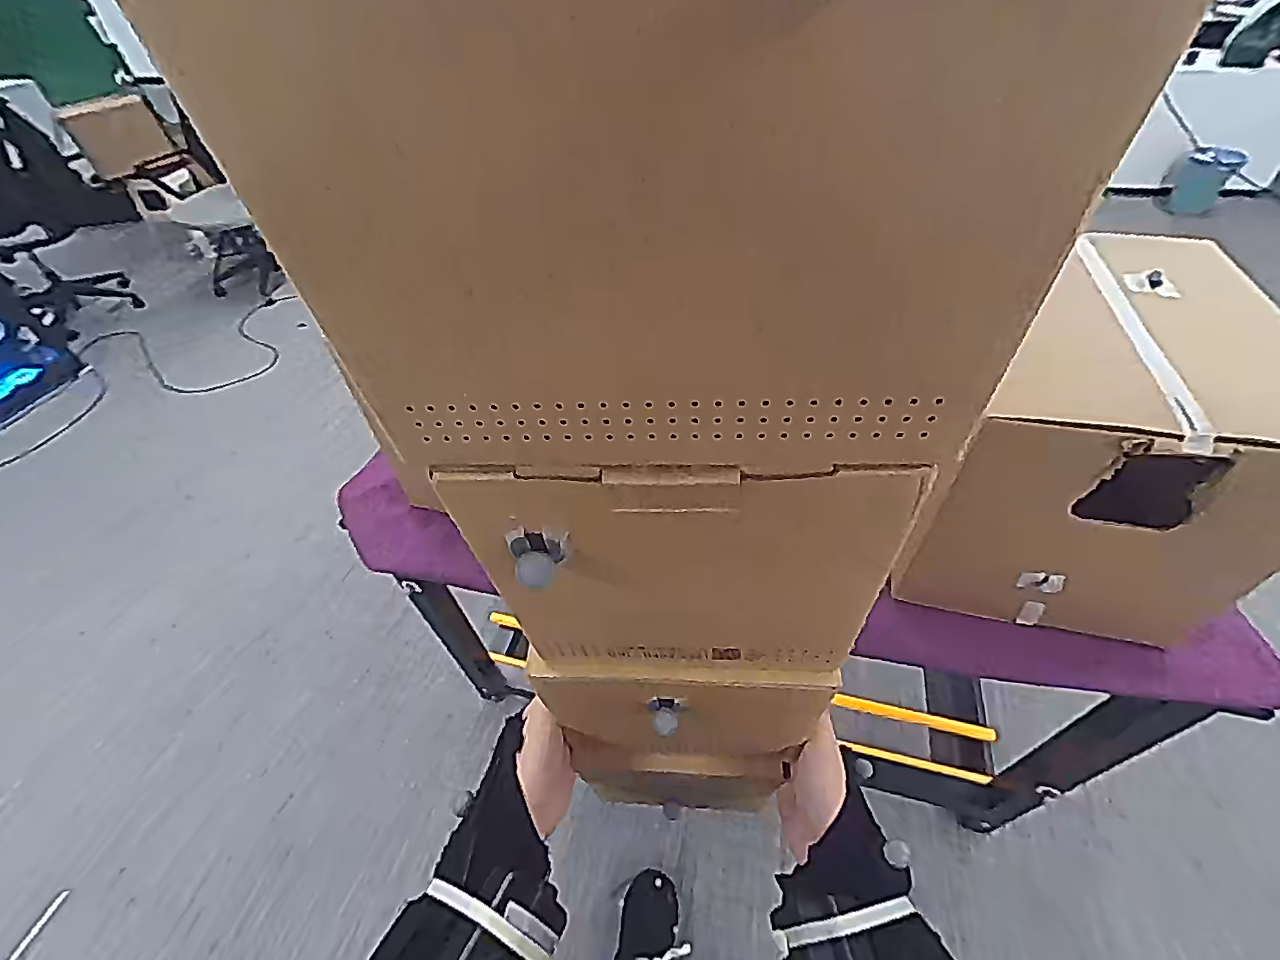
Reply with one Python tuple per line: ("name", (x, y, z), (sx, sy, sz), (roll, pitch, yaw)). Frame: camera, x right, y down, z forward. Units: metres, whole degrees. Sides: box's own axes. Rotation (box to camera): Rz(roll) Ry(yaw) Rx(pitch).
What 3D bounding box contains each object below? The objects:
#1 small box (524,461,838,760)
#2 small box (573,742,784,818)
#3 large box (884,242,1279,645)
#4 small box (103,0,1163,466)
("small box", (0.032, 0.101, 0.406), (0.179, 0.176, 0.168), (-1, 51, 7))
("small box", (0.040, 0.210, 0.527), (0.168, 0.176, 0.179), (0, 51, 7))
("large box", (0.513, -0.062, 0.686), (0.320, 0.320, 0.408), (9, 47, 13))
("small box", (0.005, -0.117, 0.159), (0.179, 0.176, 0.168), (-1, 49, 7))
